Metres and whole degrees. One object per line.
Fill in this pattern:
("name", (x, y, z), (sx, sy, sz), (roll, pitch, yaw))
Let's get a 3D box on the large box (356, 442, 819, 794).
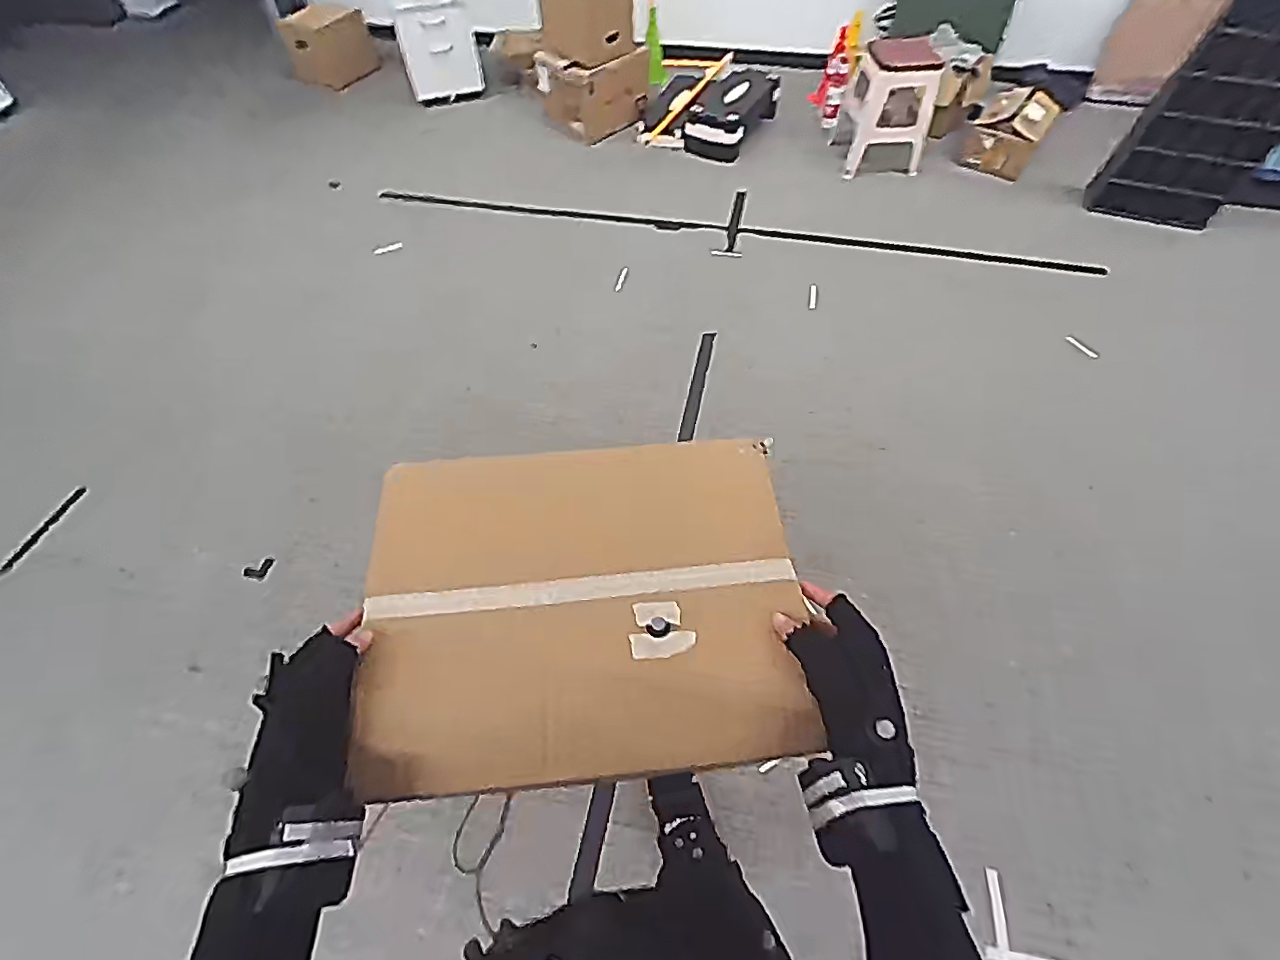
("large box", (-0.059, 0.180, 0.658), (0.408, 0.320, 0.320), (-5, 61, -4))
